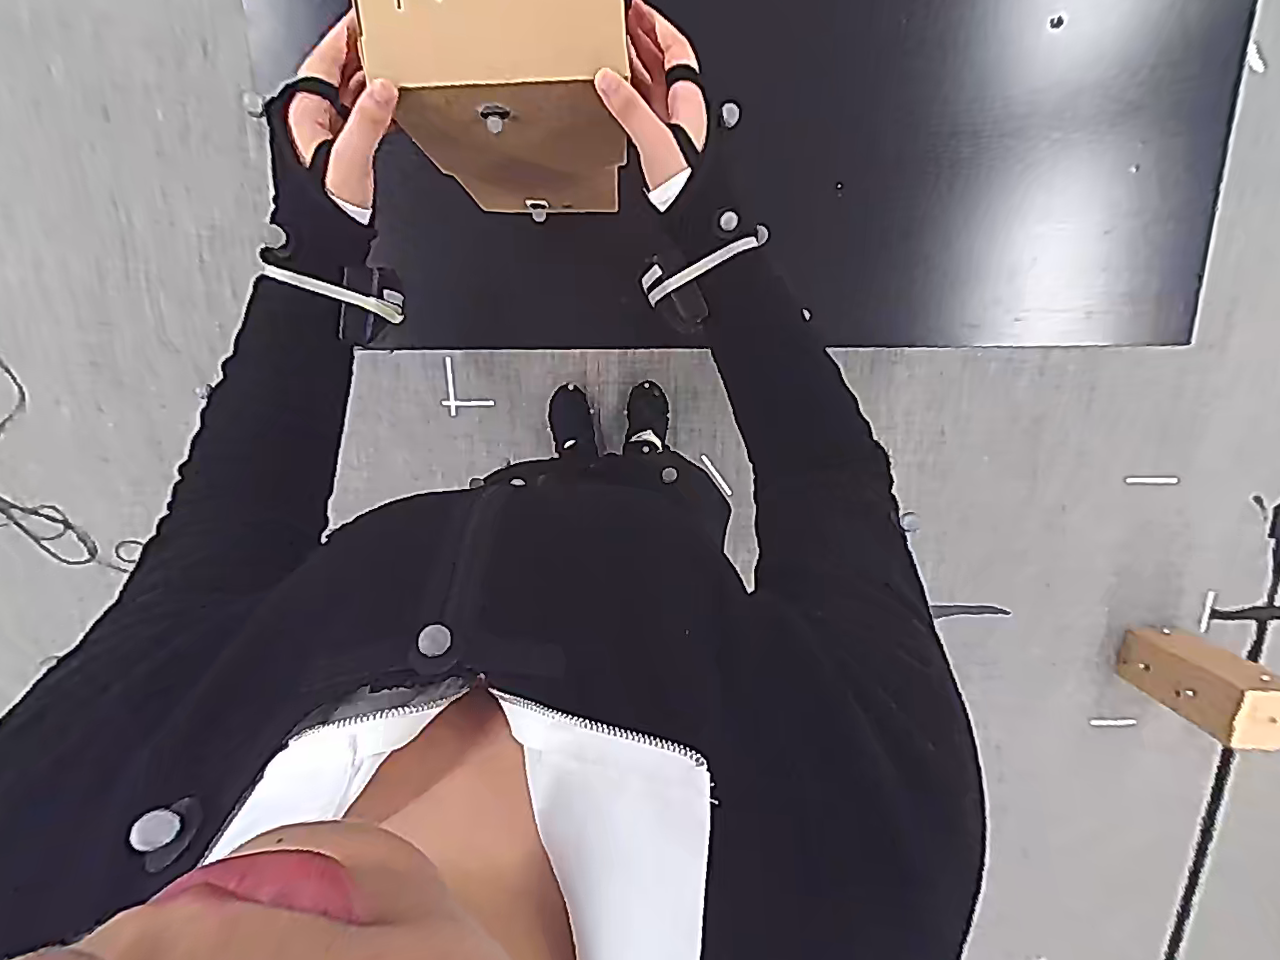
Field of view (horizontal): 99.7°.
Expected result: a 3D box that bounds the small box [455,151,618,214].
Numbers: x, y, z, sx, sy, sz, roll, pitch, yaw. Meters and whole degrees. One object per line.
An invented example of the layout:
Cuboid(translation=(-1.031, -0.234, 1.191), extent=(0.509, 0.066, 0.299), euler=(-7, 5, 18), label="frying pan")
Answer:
Cuboid(translation=(-0.109, -0.403, 0.582), extent=(0.168, 0.176, 0.179), euler=(-2, 103, -1), label="small box")

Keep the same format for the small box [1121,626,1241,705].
Cuboid(translation=(1.592, 0.546, 1.603), extent=(0.179, 0.176, 0.168), euler=(0, 103, -1), label="small box")

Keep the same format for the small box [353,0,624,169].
Cuboid(translation=(-0.104, -0.362, 0.422), extent=(0.179, 0.176, 0.168), euler=(-4, 102, -2), label="small box")

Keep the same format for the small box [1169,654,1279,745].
Cuboid(translation=(1.590, 0.579, 1.440), extent=(0.179, 0.176, 0.168), euler=(1, 102, -2), label="small box")
